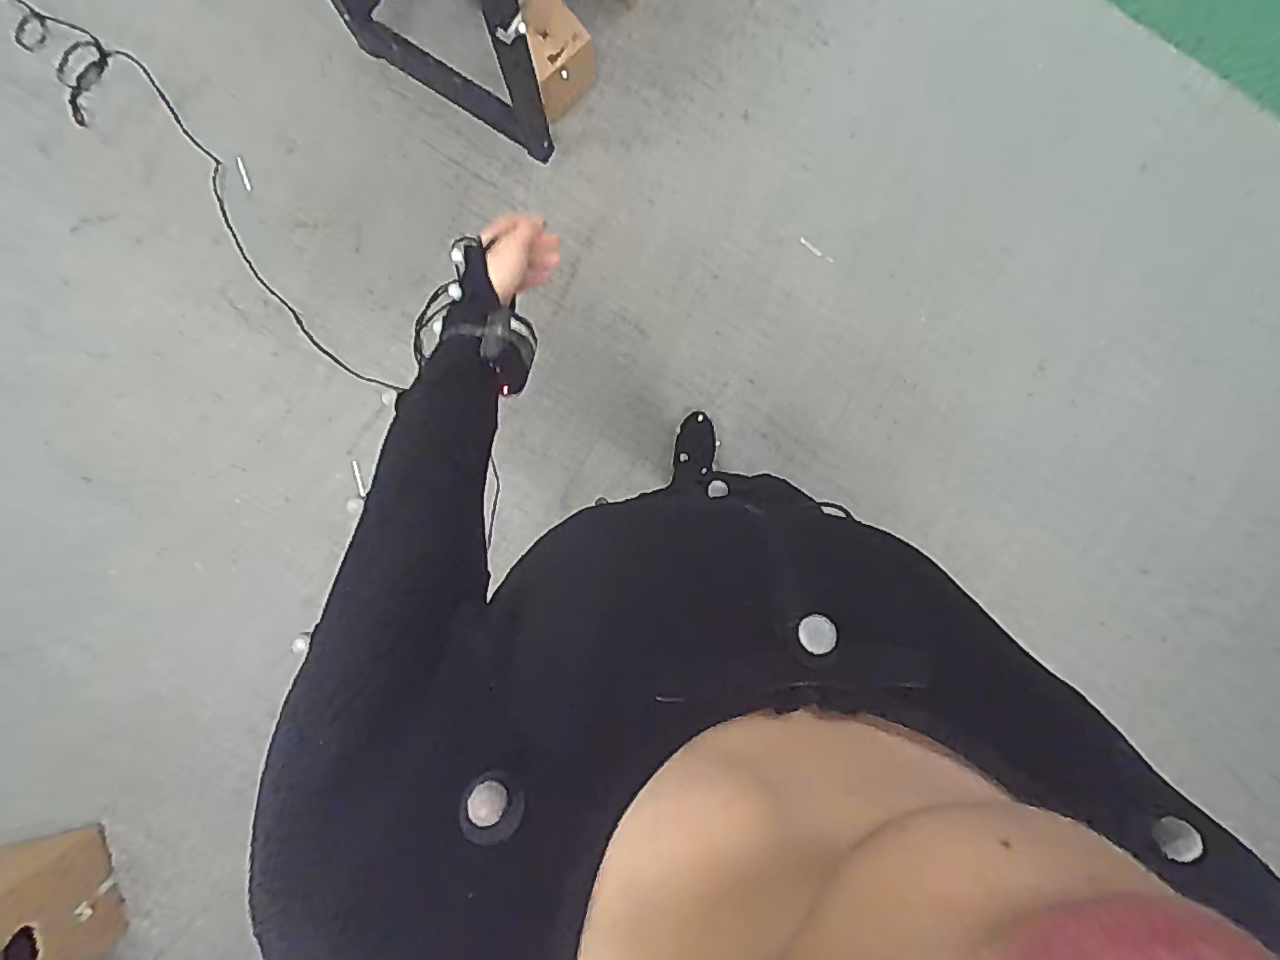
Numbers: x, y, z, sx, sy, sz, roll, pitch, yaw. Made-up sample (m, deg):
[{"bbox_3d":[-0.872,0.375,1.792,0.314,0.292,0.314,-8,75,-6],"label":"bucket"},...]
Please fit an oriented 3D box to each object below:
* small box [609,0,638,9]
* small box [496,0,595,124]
[{"bbox_3d":[-0.052,-1.355,1.362,0.179,0.176,0.168,30,90,-1],"label":"small box"},{"bbox_3d":[-0.230,-1.061,1.367,0.168,0.176,0.179,-40,91,0],"label":"small box"}]
